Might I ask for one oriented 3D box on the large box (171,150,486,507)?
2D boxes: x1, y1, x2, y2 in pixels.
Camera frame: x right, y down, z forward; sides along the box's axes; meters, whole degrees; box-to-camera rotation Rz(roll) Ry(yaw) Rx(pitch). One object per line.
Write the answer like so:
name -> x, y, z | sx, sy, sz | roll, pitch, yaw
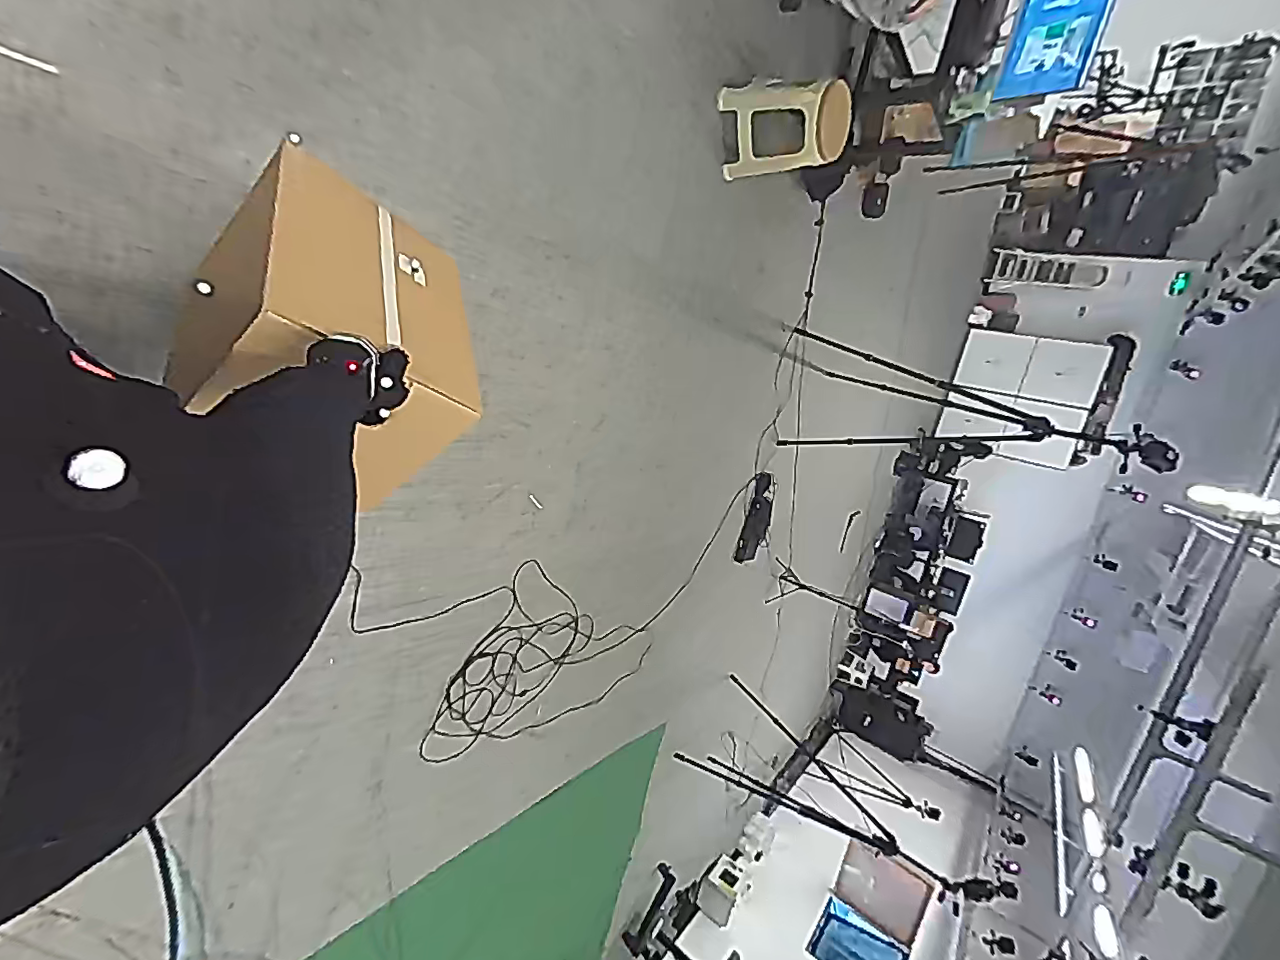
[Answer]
large box -> -0.500, -0.223, 0.890 | 0.320, 0.408, 0.320 | -34, 146, 21
